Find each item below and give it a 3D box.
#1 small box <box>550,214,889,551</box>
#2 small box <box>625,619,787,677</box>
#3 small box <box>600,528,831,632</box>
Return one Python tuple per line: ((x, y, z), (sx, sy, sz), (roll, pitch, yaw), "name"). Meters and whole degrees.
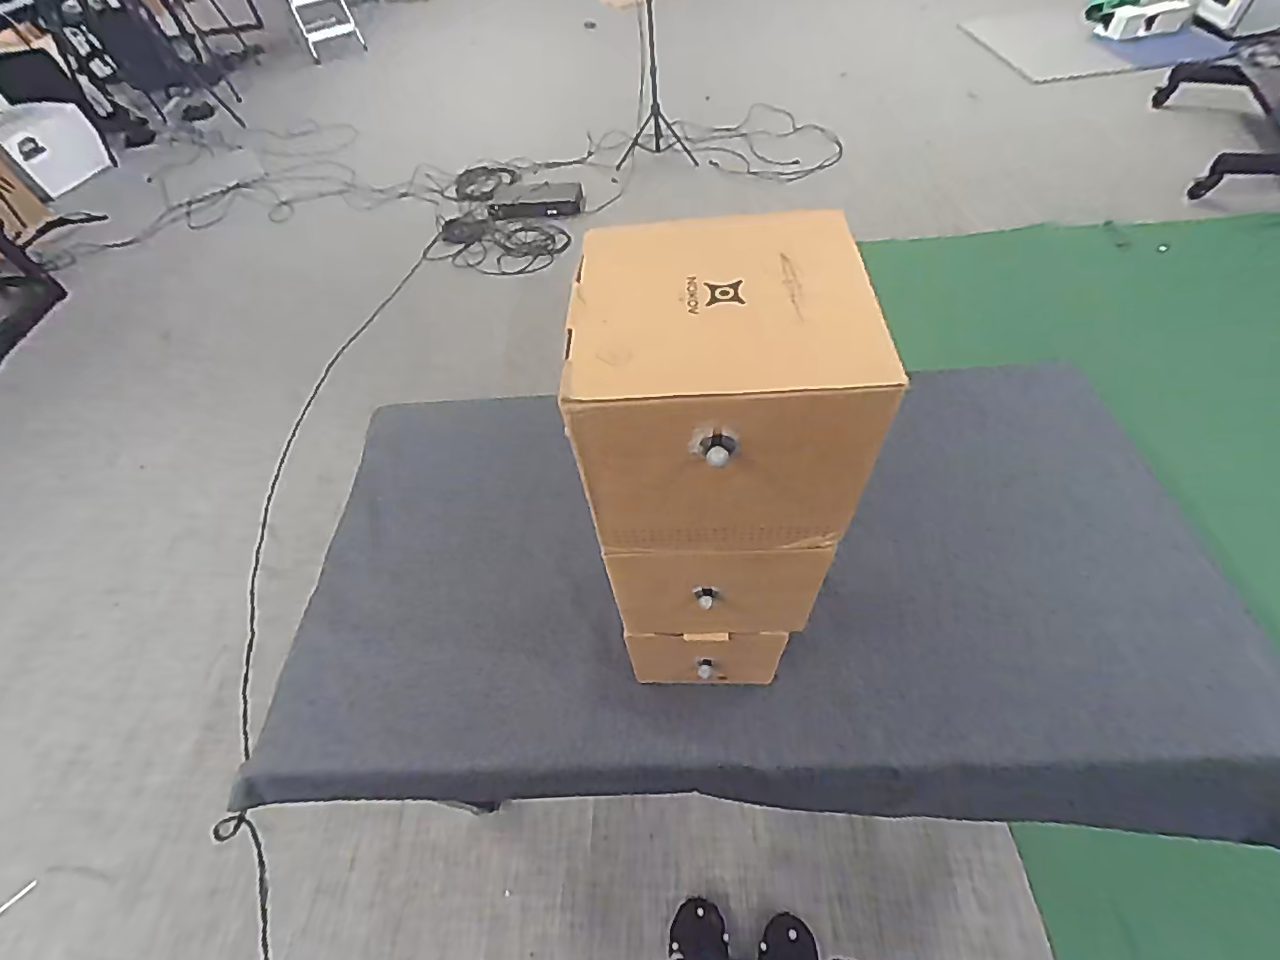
((0.048, -0.059, 0.385), (0.179, 0.176, 0.168), (-3, 55, 4), "small box")
((0.077, 0.130, 0.649), (0.168, 0.176, 0.179), (-3, 54, 6), "small box")
((0.065, 0.037, 0.514), (0.179, 0.176, 0.168), (-4, 53, 6), "small box")
